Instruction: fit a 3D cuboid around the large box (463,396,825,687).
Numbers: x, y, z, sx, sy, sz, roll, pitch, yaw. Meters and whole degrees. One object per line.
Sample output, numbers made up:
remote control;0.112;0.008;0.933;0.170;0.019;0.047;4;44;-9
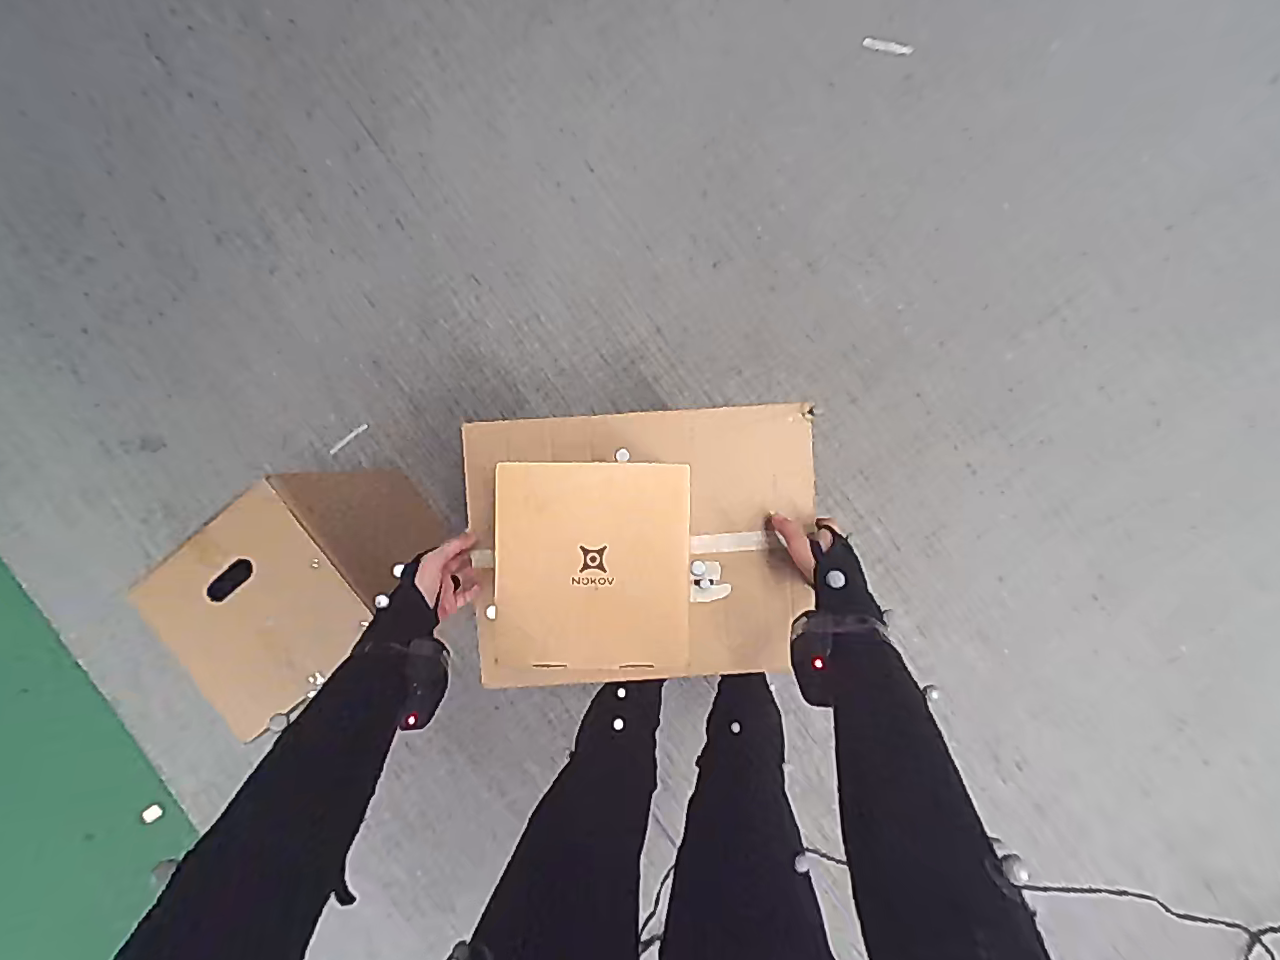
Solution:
large box;0.003;0.069;0.769;0.408;0.320;0.320;-4;92;-1

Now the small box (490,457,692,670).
small box;-0.042;0.069;0.524;0.168;0.176;0.179;0;91;0
